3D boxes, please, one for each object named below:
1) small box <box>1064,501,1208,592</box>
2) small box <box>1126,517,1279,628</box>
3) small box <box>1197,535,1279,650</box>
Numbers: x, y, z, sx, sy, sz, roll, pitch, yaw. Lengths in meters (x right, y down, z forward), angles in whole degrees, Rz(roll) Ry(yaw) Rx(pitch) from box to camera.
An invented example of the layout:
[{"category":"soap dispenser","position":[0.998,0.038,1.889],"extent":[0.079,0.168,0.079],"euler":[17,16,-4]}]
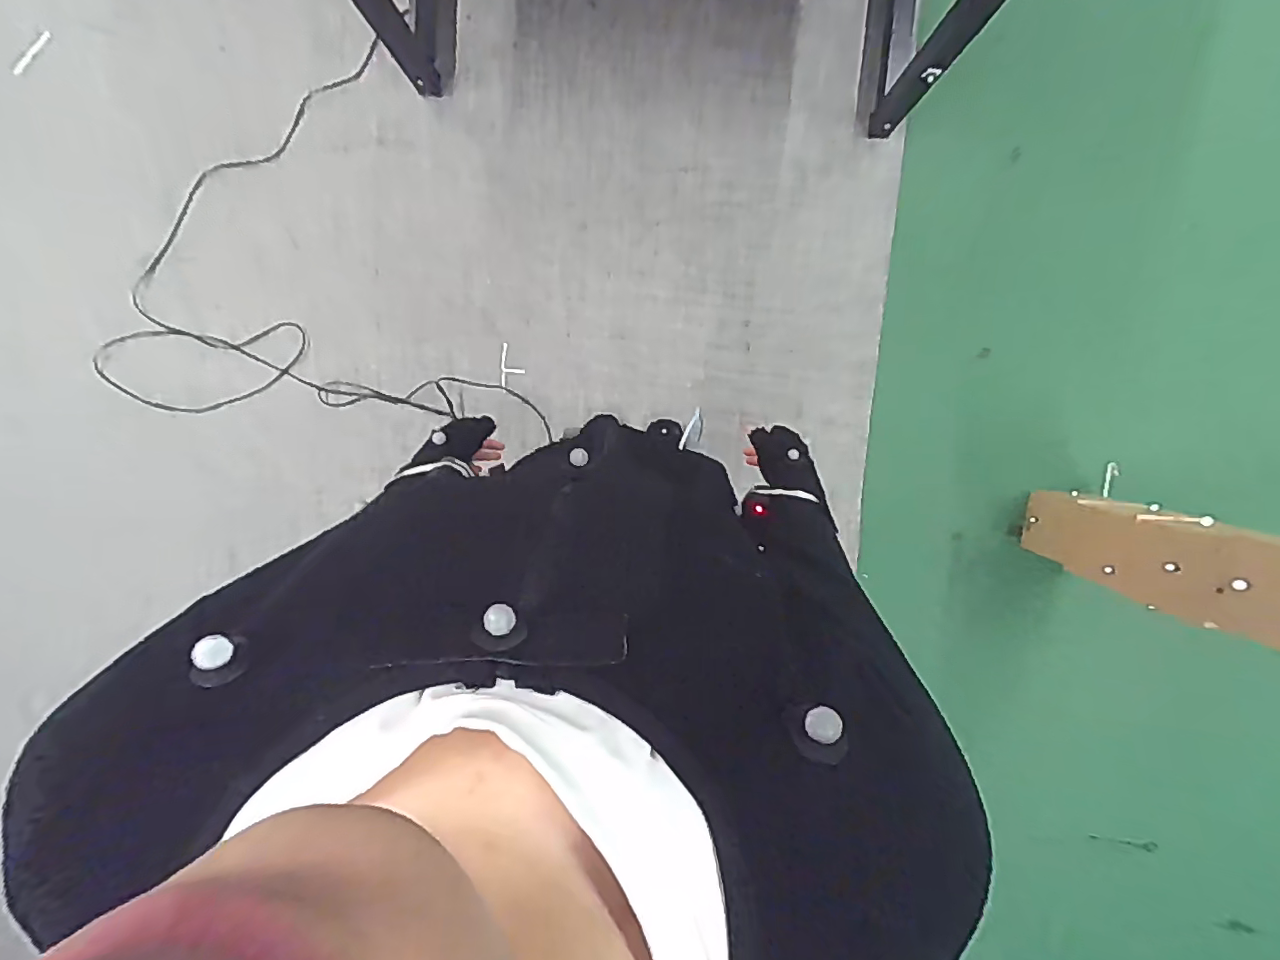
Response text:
[{"category":"small box","position":[1.123,0.150,1.239],"extent":[0.168,0.176,0.179],"euler":[4,99,1]},{"category":"small box","position":[1.128,0.181,1.077],"extent":[0.168,0.176,0.179],"euler":[3,98,1]},{"category":"small box","position":[1.128,0.198,0.913],"extent":[0.179,0.176,0.168],"euler":[8,98,0]}]
